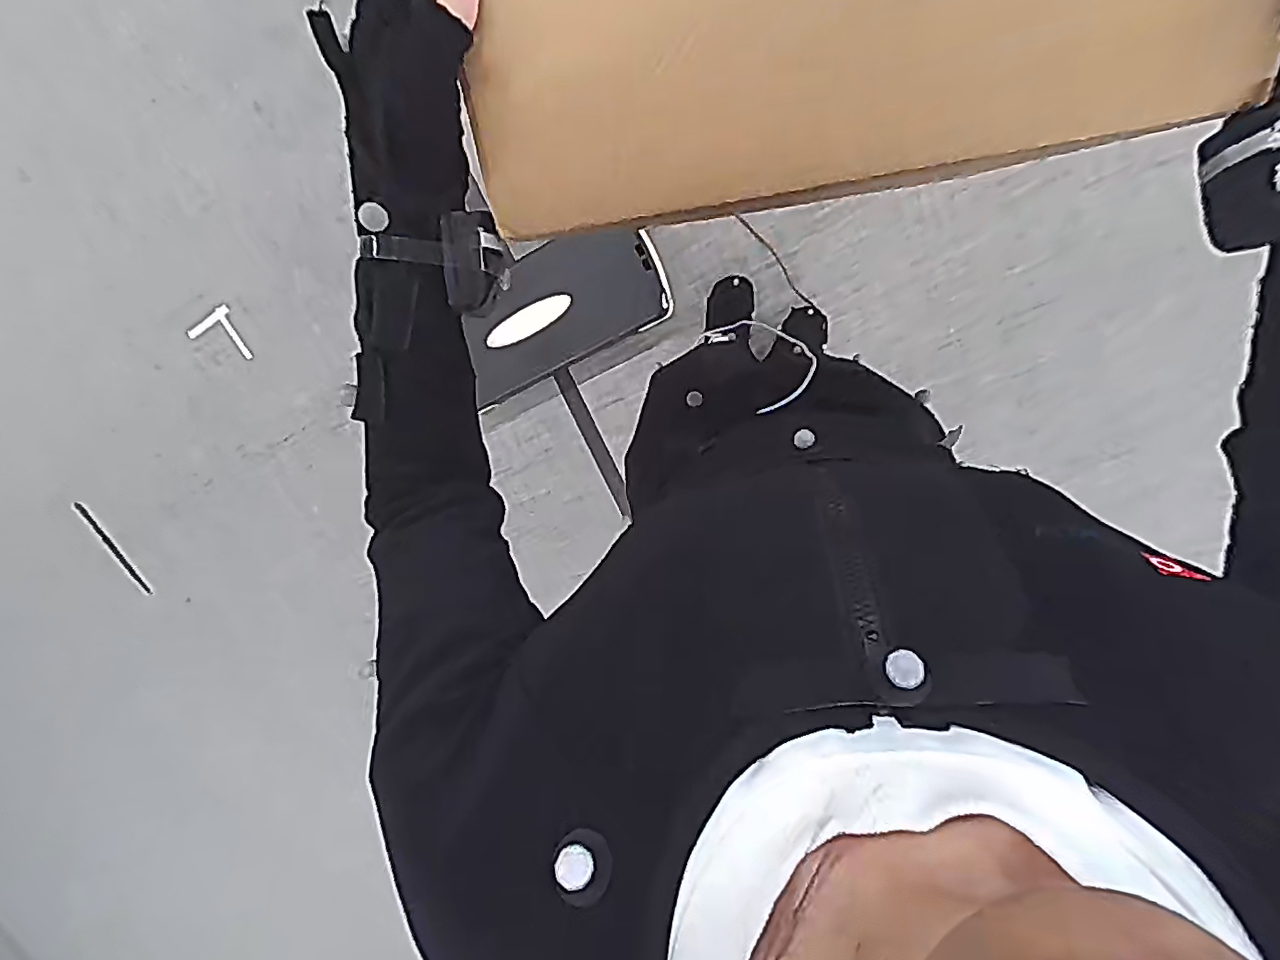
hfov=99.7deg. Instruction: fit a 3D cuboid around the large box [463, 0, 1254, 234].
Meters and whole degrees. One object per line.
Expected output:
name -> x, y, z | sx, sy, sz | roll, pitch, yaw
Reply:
large box -> 0.105, -0.380, 0.391 | 0.408, 0.320, 0.320 | -5, 114, 11
